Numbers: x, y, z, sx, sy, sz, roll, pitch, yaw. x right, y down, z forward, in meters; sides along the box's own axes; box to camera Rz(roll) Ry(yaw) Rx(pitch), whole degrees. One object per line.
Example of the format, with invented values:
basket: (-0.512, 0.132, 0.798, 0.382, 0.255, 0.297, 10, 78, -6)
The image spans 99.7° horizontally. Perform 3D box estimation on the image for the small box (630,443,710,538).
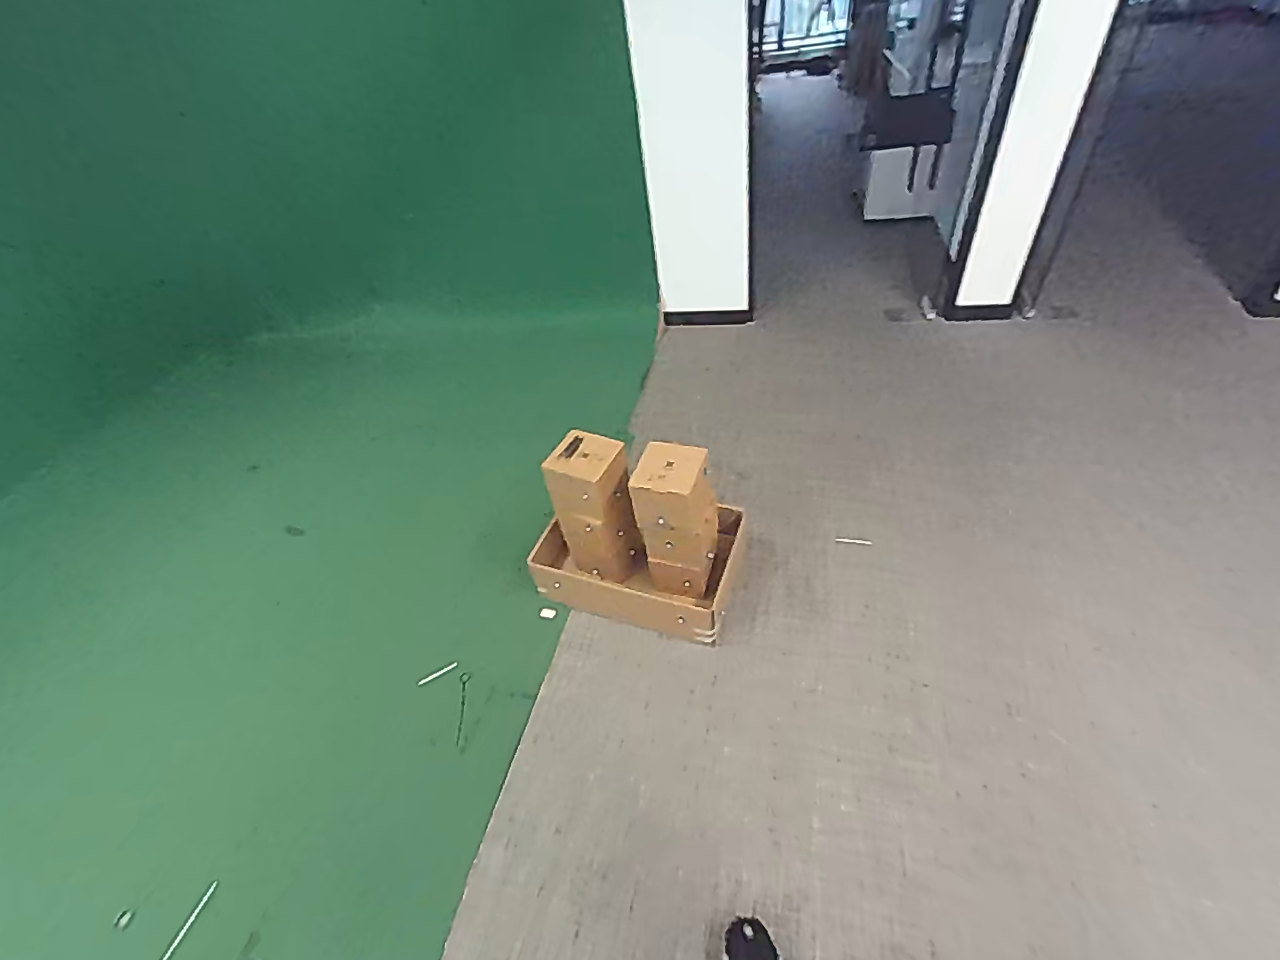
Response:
small box: (0.089, 0.027, 1.455, 0.168, 0.176, 0.179, 8, 48, 21)

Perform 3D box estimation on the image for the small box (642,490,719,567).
small box: (0.126, 0.134, 1.575, 0.179, 0.176, 0.168, 8, 48, 21)
